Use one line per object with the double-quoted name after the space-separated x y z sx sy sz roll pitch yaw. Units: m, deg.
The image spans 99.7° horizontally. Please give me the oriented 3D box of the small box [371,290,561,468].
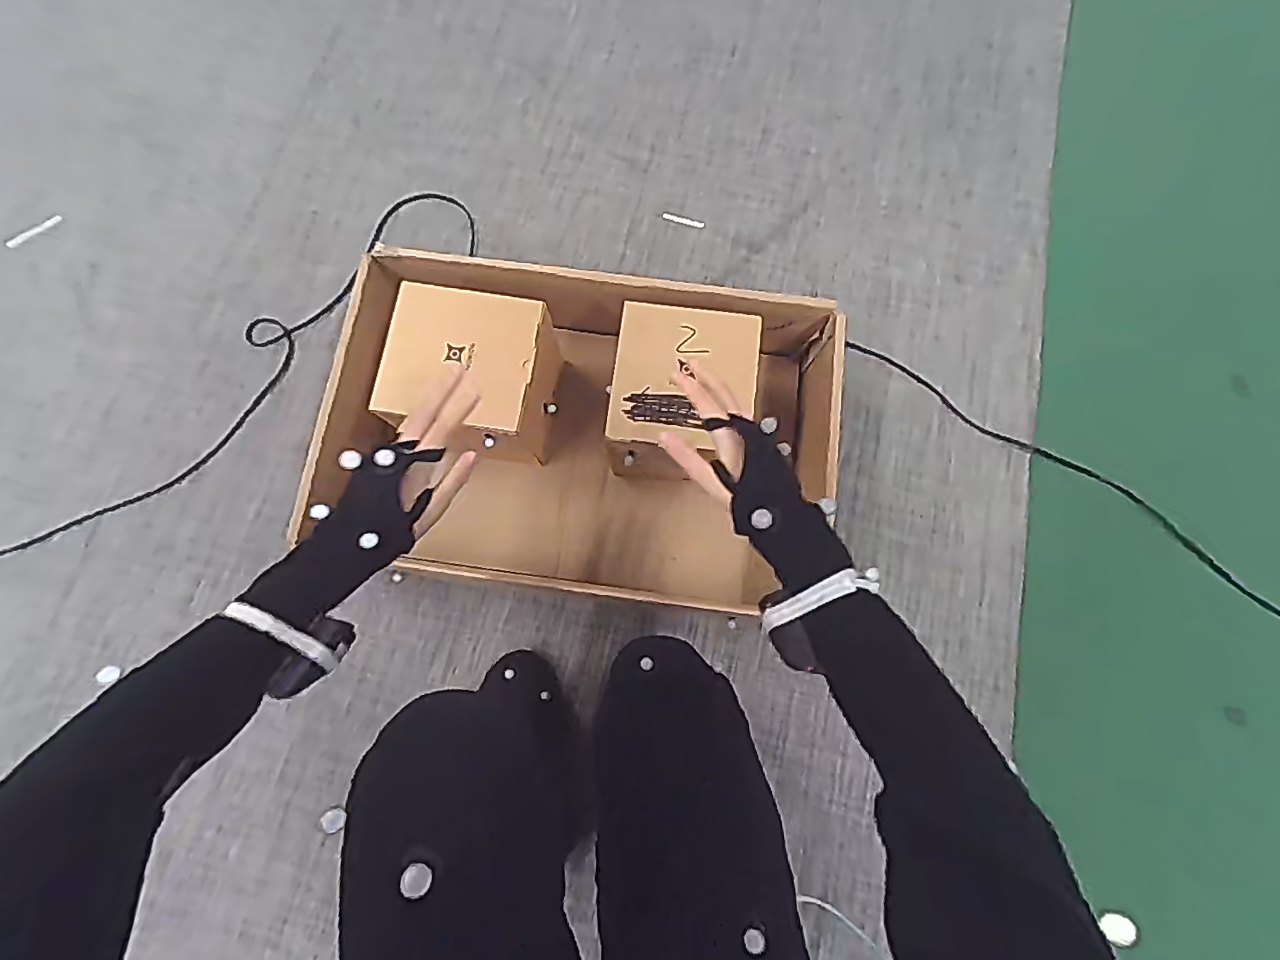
-0.211 -0.121 0.709 0.179 0.176 0.168 9 78 0 "small box"
